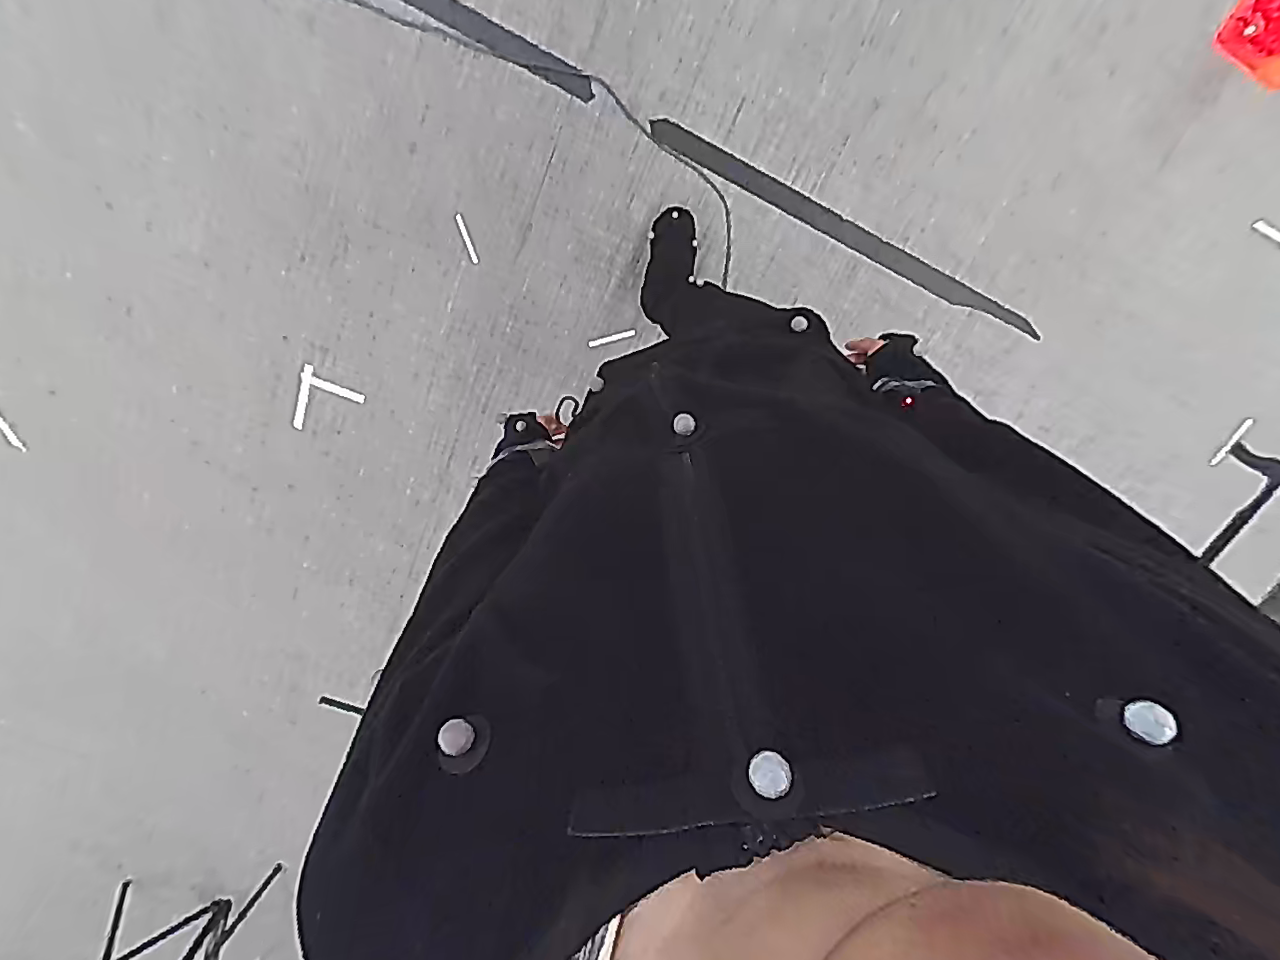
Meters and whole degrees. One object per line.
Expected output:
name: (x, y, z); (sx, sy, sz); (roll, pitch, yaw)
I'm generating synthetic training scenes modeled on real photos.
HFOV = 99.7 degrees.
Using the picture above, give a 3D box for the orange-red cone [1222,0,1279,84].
orange-red cone: (1.300, -0.878, 0.921); (0.199, 0.360, 0.198); (26, 108, -10)
